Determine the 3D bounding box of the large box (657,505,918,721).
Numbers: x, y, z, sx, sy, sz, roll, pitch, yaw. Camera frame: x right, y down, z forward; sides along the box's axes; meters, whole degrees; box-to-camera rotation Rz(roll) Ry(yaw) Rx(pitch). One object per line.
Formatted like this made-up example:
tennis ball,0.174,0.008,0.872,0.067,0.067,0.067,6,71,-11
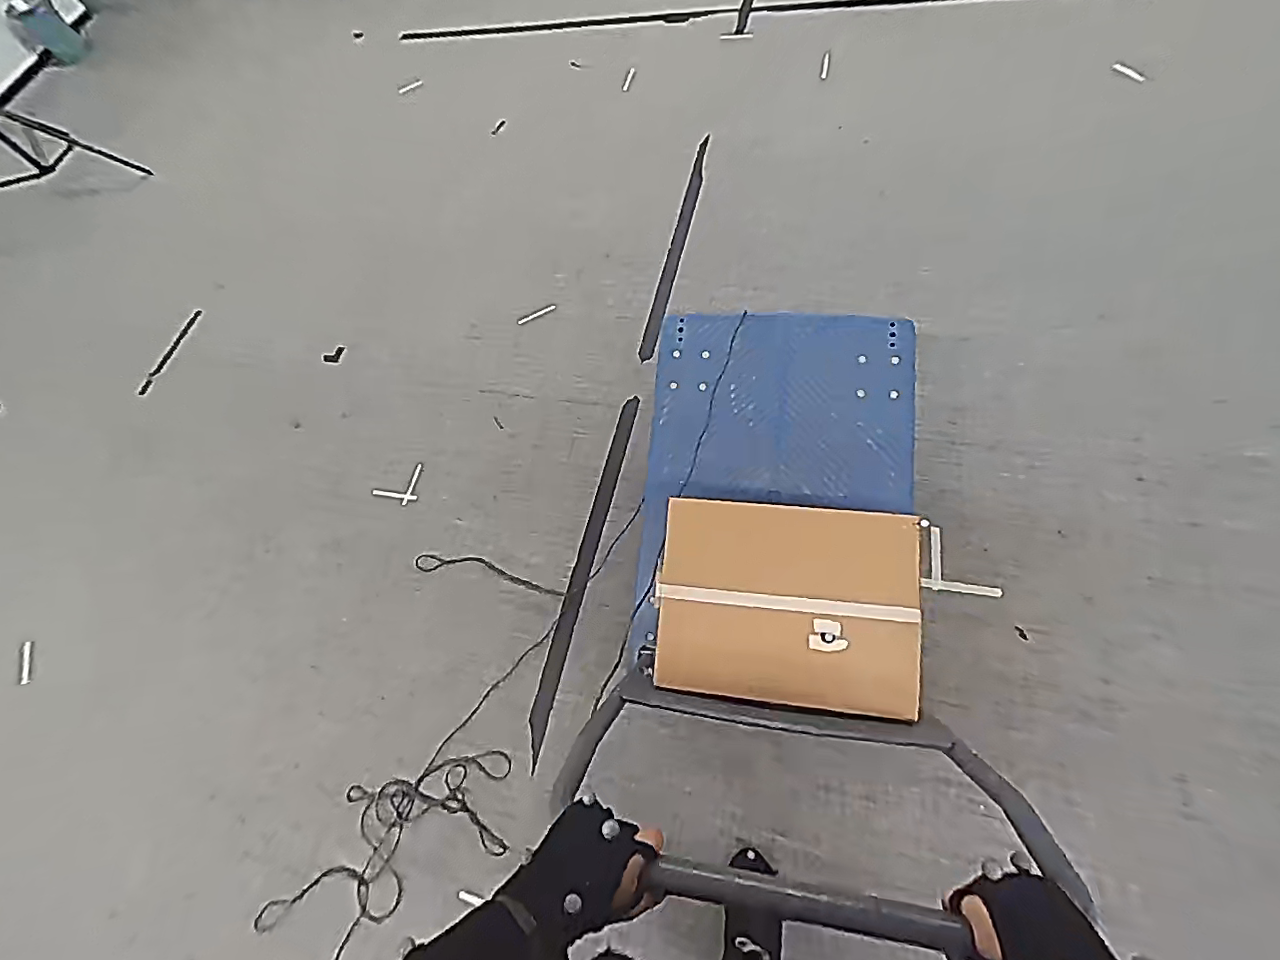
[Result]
large box,0.253,0.231,1.009,0.408,0.320,0.320,4,81,9
